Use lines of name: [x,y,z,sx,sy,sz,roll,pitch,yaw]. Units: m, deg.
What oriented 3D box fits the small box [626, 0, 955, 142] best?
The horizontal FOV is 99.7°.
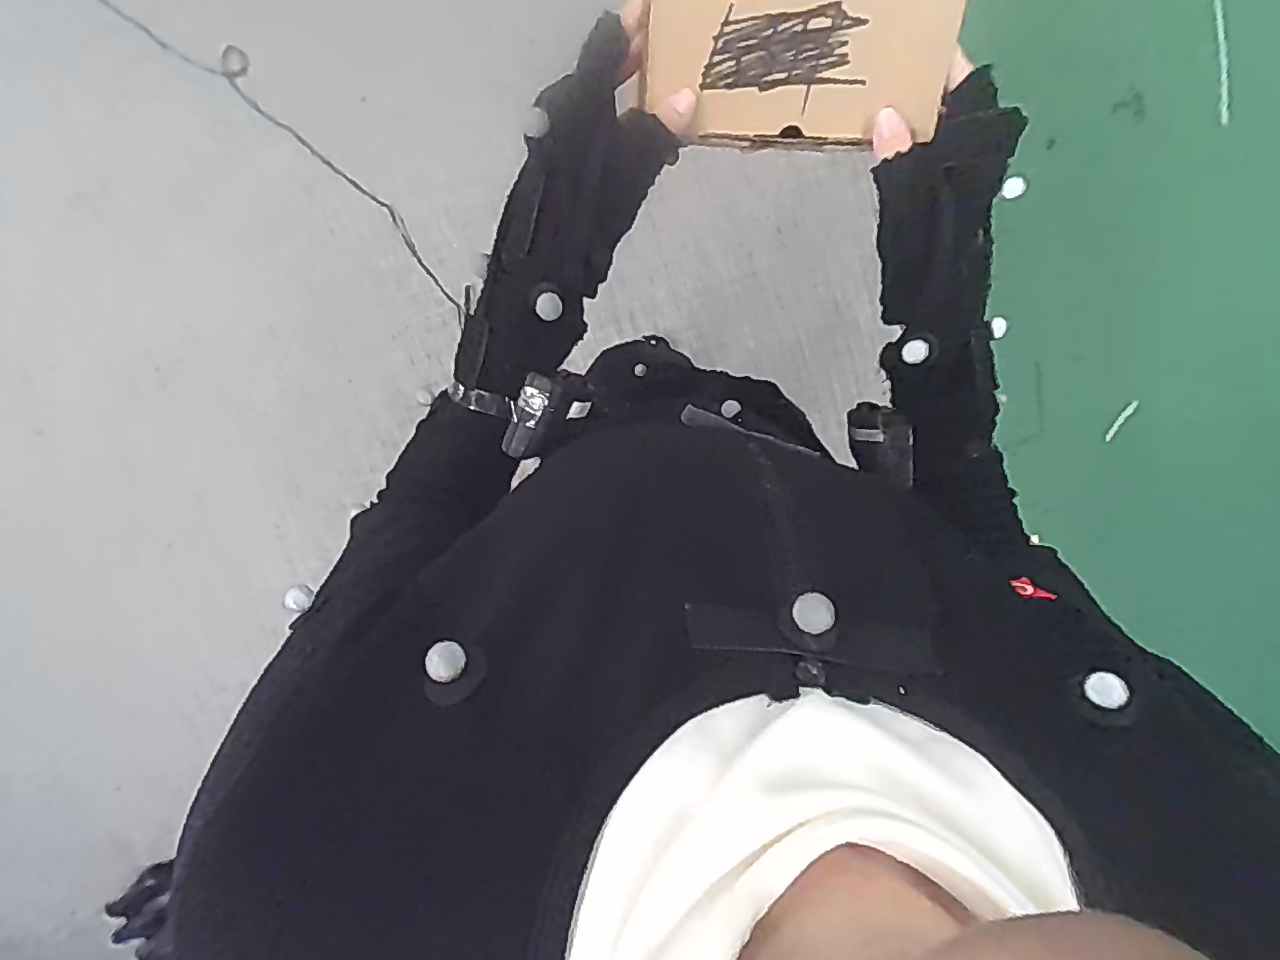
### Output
small box: [0.079,-0.314,0.331,0.168,0.176,0.179,-1,120,-4]
